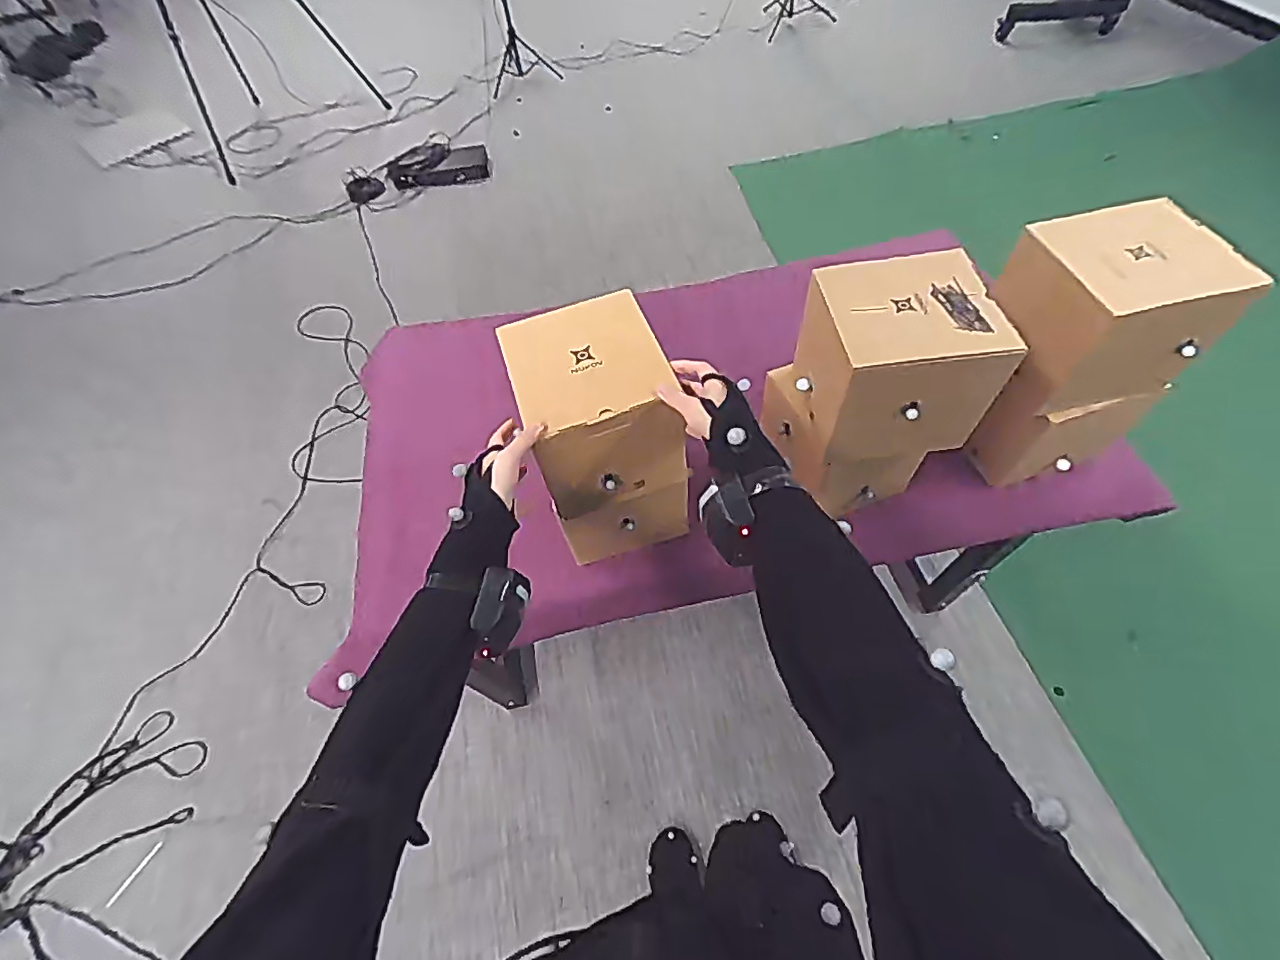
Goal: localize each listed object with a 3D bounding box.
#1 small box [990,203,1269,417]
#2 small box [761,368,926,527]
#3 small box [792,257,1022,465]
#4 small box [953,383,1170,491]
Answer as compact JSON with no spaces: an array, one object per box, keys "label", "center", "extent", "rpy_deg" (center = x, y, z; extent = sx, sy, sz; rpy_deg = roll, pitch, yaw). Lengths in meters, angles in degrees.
[{"label":"small box","center":[0.556,-0.201,0.662],"extent":[0.179,0.176,0.168],"rpy_deg":[-12,57,-1]},{"label":"small box","center":[0.290,-0.061,0.795],"extent":[0.168,0.176,0.179],"rpy_deg":[-19,57,-6]},{"label":"small box","center":[0.295,-0.135,0.647],"extent":[0.179,0.176,0.168],"rpy_deg":[-7,56,2]},{"label":"small box","center":[0.584,-0.110,0.796],"extent":[0.179,0.176,0.168],"rpy_deg":[-16,57,-4]}]
